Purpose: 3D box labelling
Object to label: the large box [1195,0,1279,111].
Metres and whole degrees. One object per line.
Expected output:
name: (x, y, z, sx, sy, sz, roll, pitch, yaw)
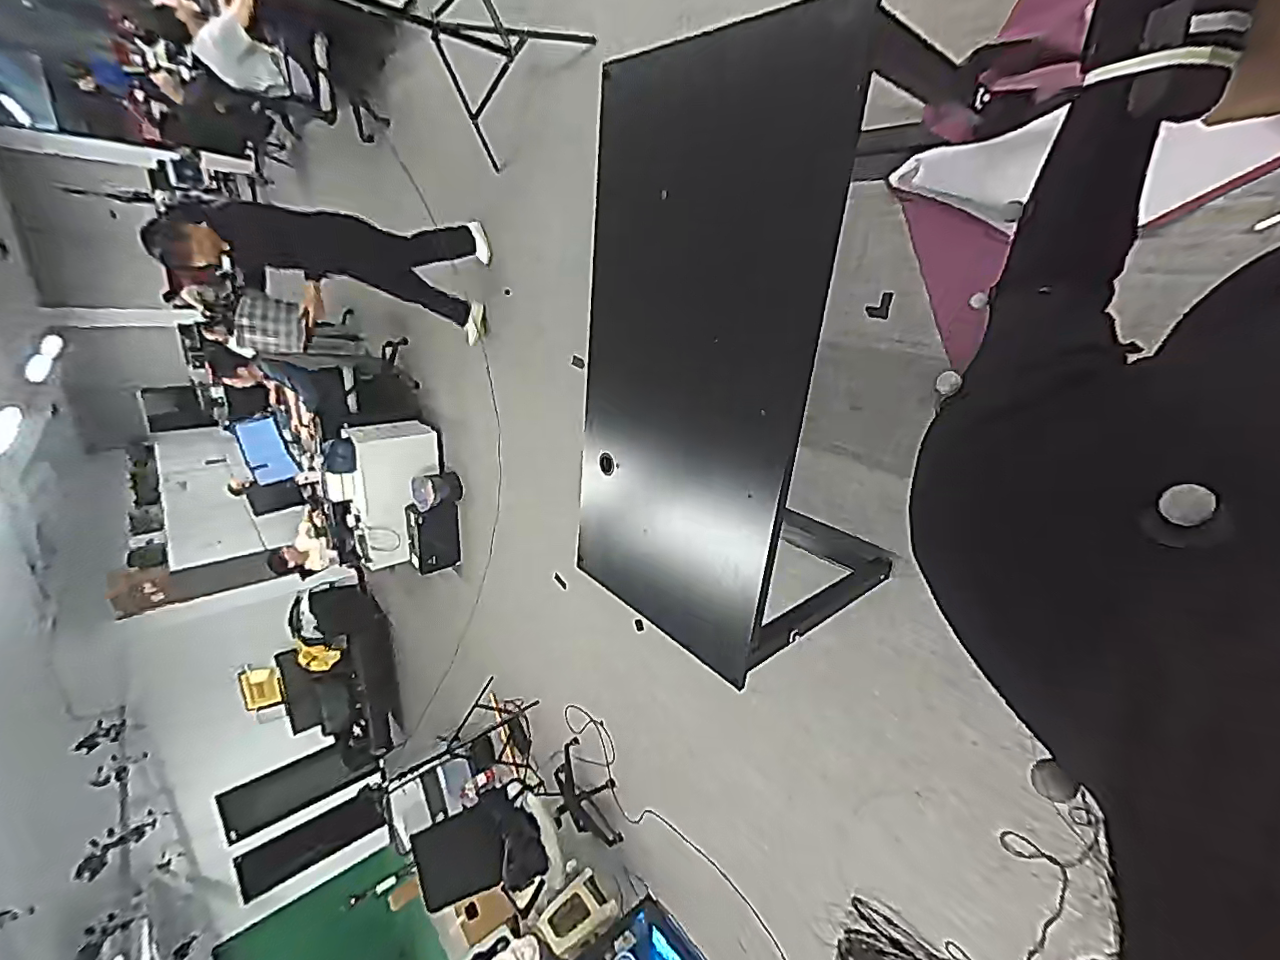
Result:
large box: (0.605, -0.444, 0.274, 0.408, 0.320, 0.320, 16, 118, 45)
